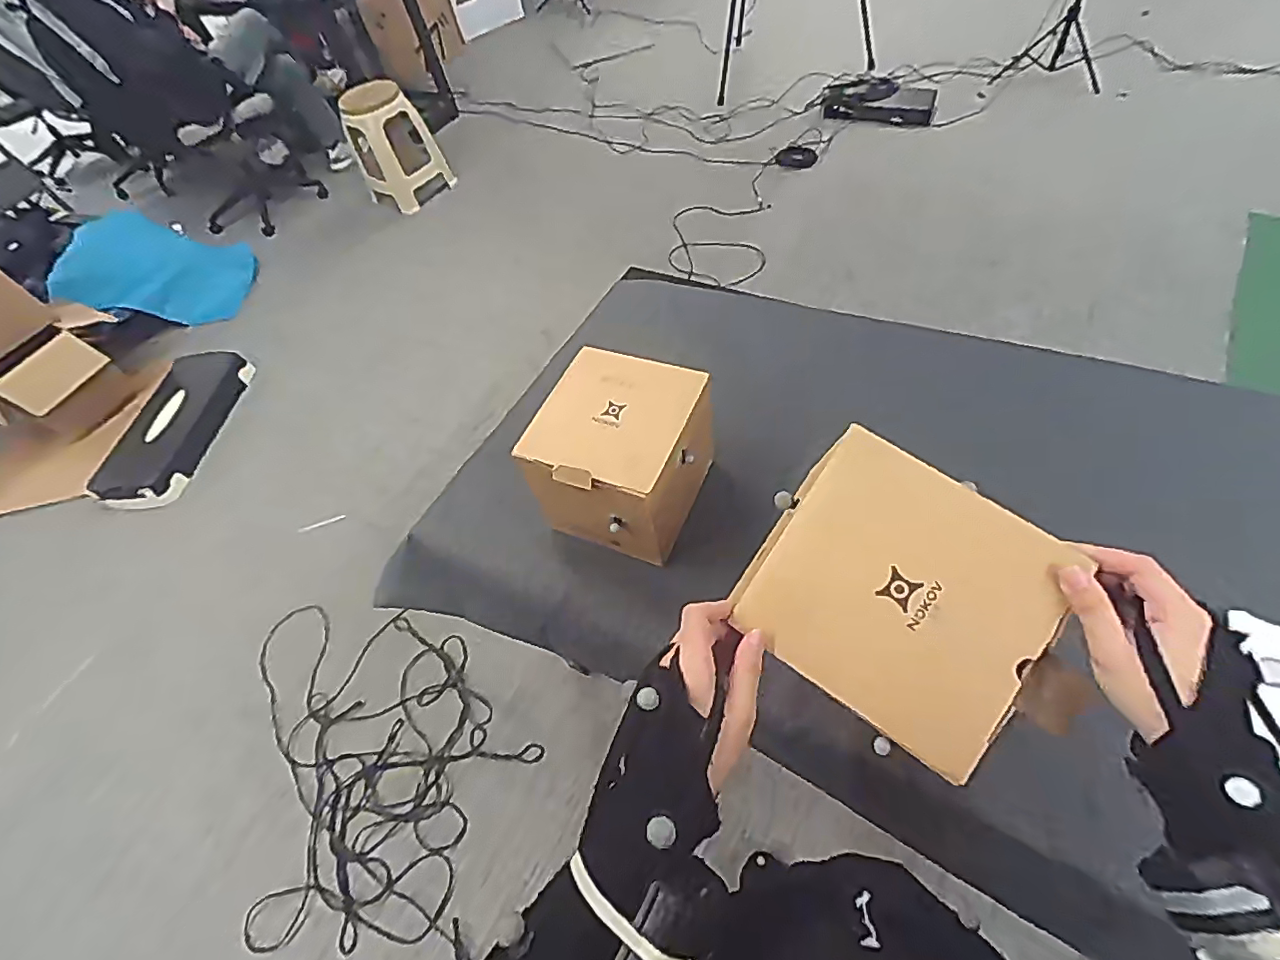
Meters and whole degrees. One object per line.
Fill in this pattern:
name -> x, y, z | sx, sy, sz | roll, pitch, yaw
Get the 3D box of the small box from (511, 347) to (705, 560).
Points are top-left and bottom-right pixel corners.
small box -> -0.022, -0.028, 0.657 | 0.168, 0.176, 0.179 | 17, 59, 19
